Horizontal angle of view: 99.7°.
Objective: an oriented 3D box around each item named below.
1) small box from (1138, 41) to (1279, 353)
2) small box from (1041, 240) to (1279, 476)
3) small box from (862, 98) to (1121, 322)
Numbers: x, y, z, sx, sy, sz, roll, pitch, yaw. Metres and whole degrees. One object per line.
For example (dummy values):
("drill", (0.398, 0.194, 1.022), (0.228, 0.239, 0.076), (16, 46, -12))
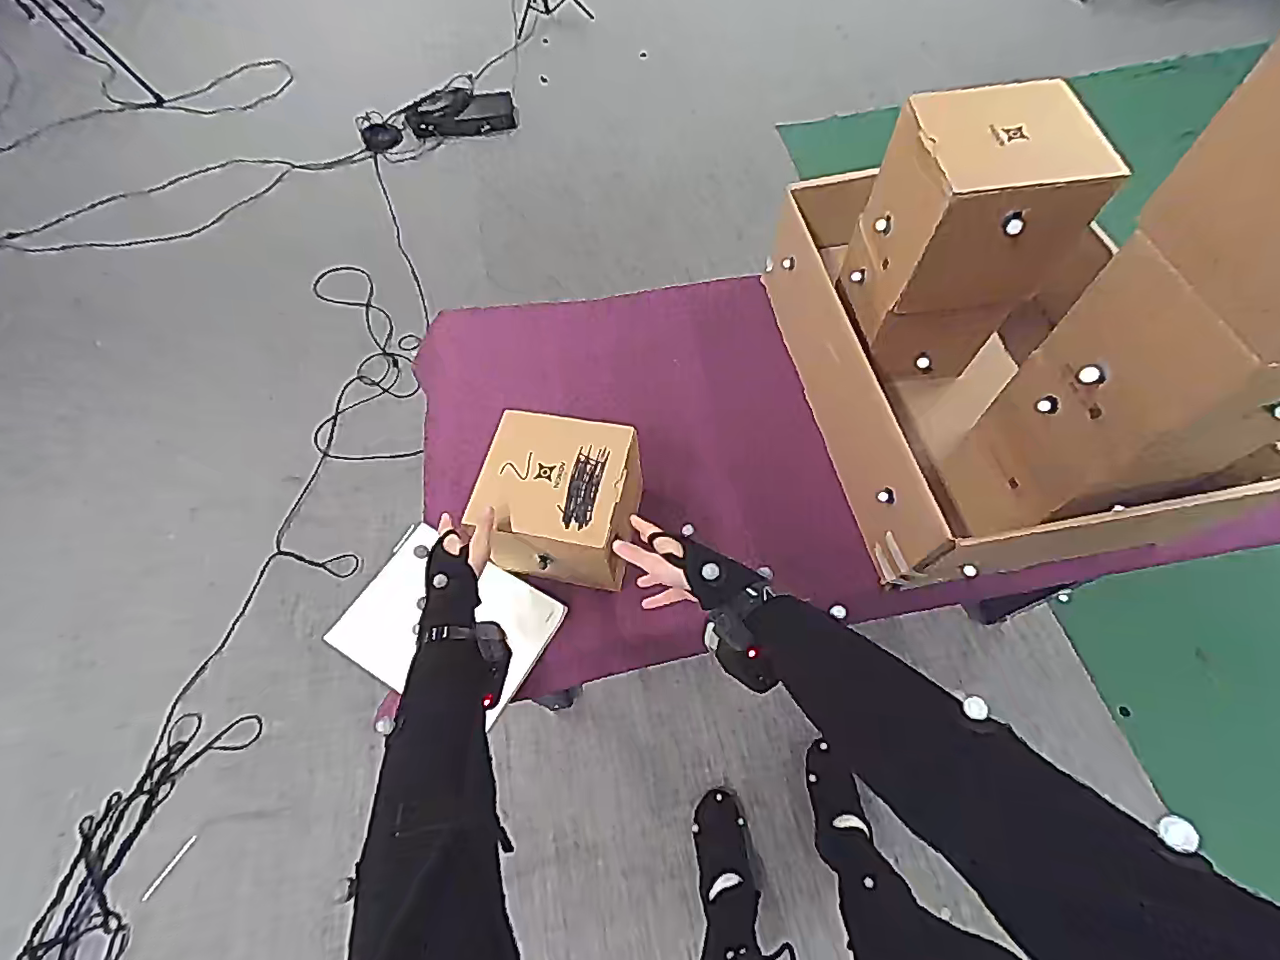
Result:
("small box", (0.532, -0.206, 0.383), (0.168, 0.176, 0.179), (-9, 60, 1))
("small box", (0.549, -0.122, 0.521), (0.179, 0.176, 0.168), (-10, 60, 1))
("small box", (0.392, -0.311, 0.643), (0.179, 0.176, 0.168), (-6, 63, 2))
